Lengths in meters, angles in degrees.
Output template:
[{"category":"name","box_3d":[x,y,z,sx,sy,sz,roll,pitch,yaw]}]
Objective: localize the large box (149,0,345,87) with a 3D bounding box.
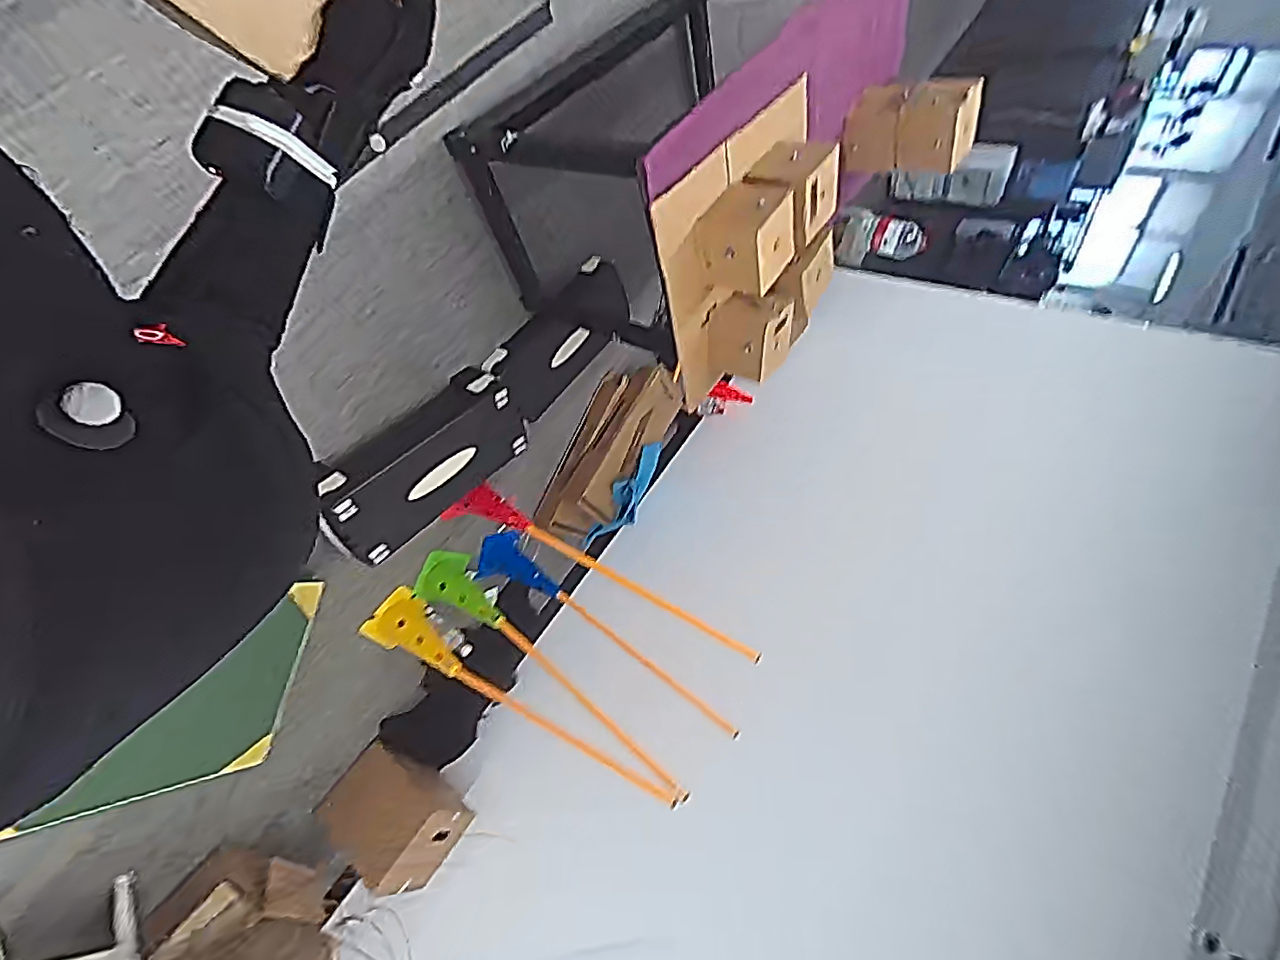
[{"category":"large box","box_3d":[-0.381,-0.538,0.301,0.320,0.320,0.408,-55,149,11]}]
